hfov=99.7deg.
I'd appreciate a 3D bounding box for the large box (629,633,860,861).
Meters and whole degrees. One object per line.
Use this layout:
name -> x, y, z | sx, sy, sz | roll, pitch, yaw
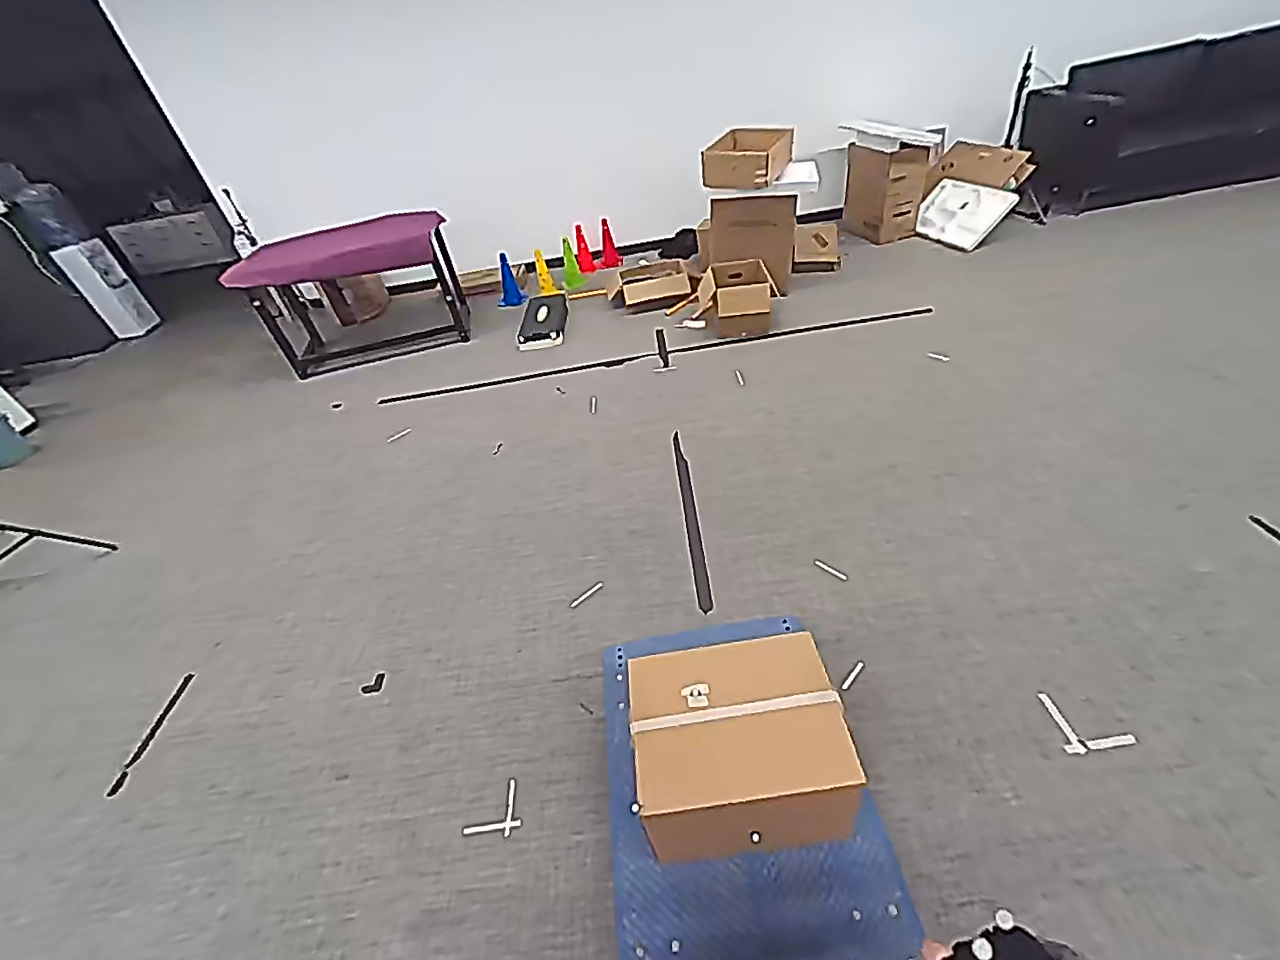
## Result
large box -> 0.210, 0.581, 1.177 | 0.408, 0.320, 0.320 | -11, 39, 2
